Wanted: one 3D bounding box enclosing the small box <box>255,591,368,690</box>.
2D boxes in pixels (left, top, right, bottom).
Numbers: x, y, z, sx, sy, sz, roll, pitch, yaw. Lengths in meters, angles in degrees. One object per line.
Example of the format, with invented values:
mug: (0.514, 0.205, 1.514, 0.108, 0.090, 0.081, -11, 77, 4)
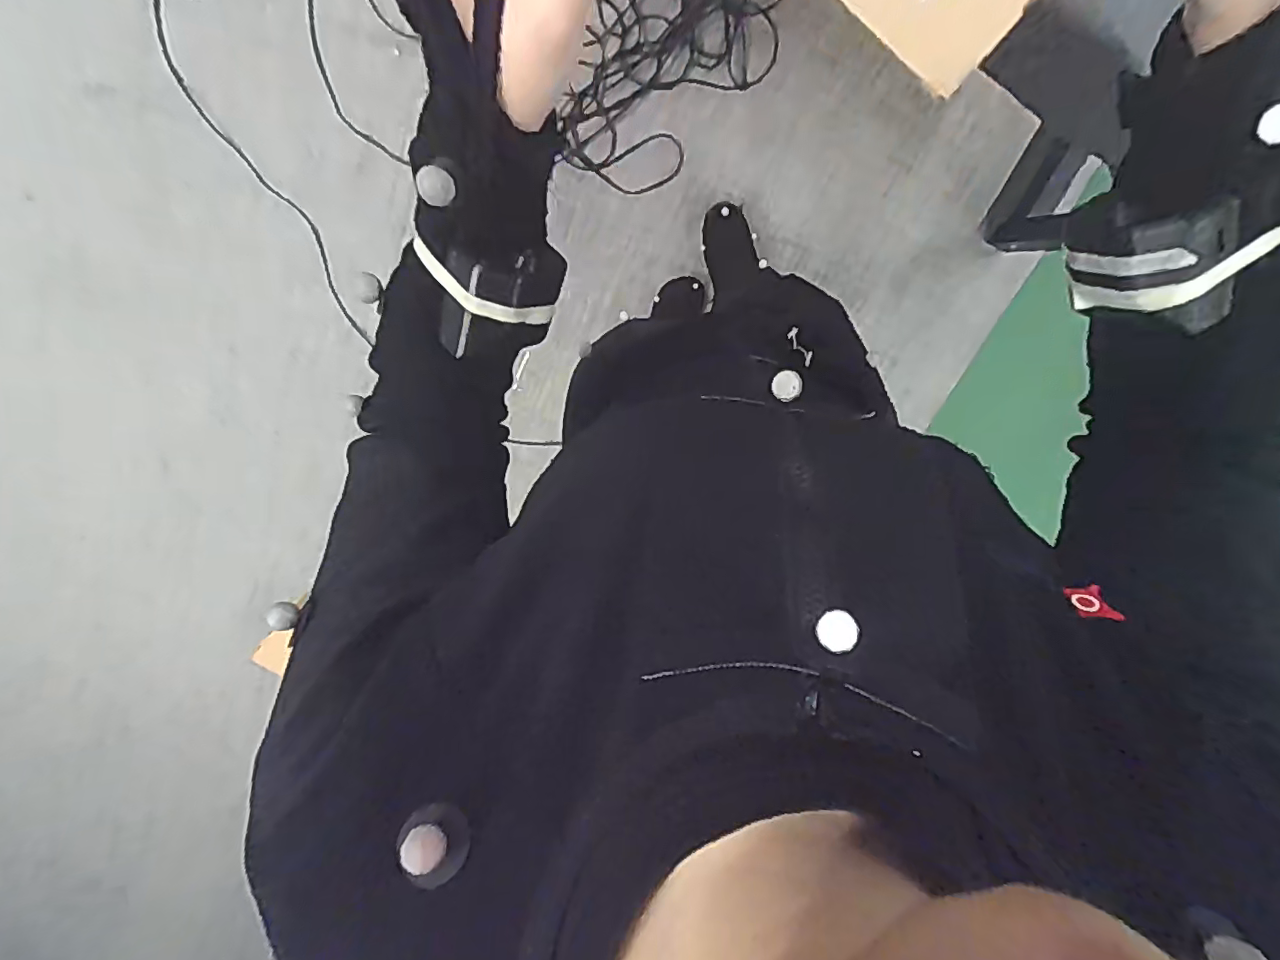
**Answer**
small box: (-0.899, 0.434, 1.496, 0.179, 0.176, 0.168, 38, 108, -15)
